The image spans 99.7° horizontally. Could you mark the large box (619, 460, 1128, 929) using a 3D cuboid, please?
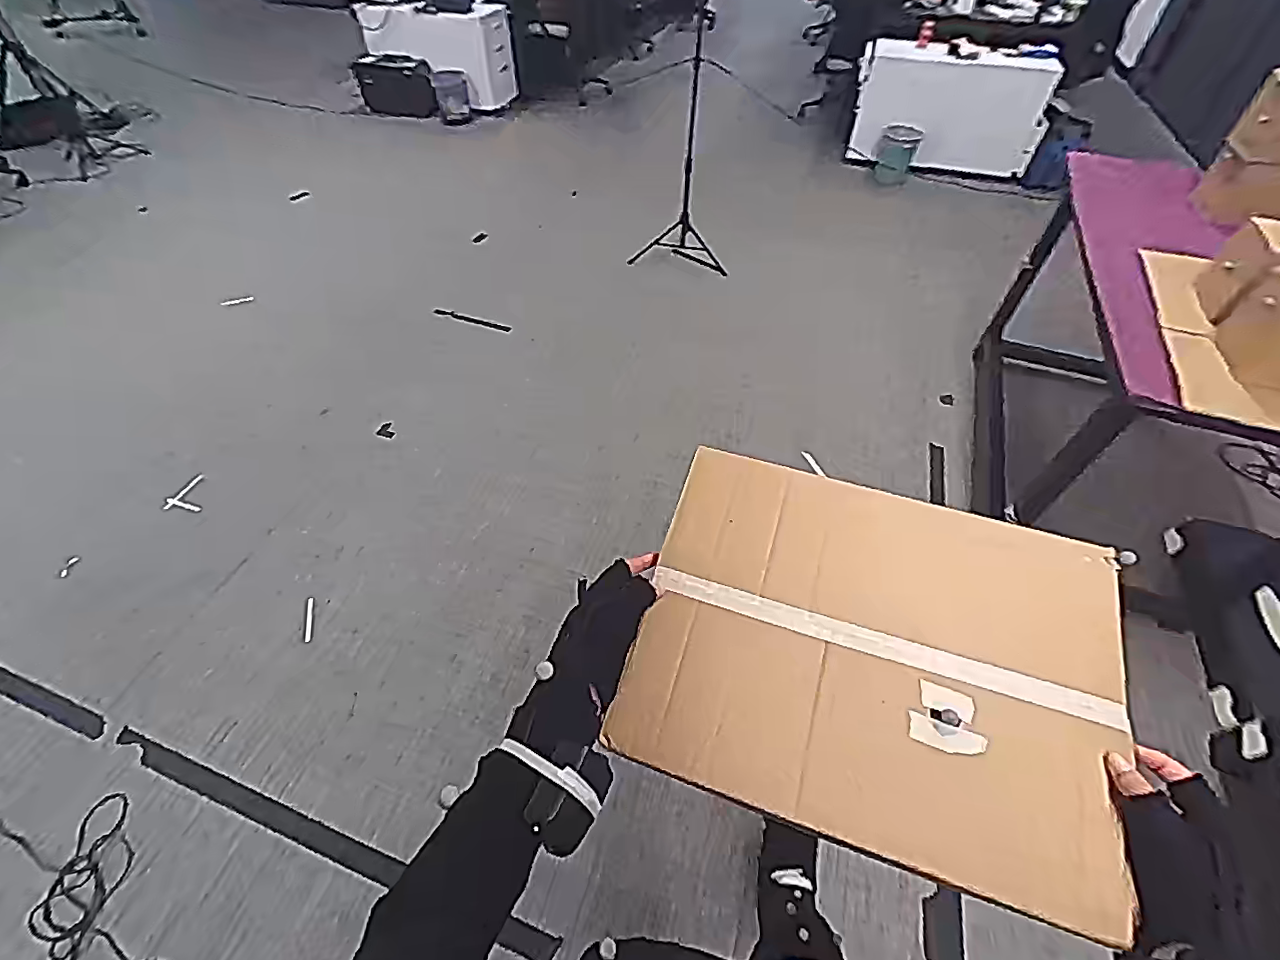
[{"bbox_3d":[0.220,0.223,0.626,0.408,0.320,0.320,16,64,12],"label":"large box"}]
